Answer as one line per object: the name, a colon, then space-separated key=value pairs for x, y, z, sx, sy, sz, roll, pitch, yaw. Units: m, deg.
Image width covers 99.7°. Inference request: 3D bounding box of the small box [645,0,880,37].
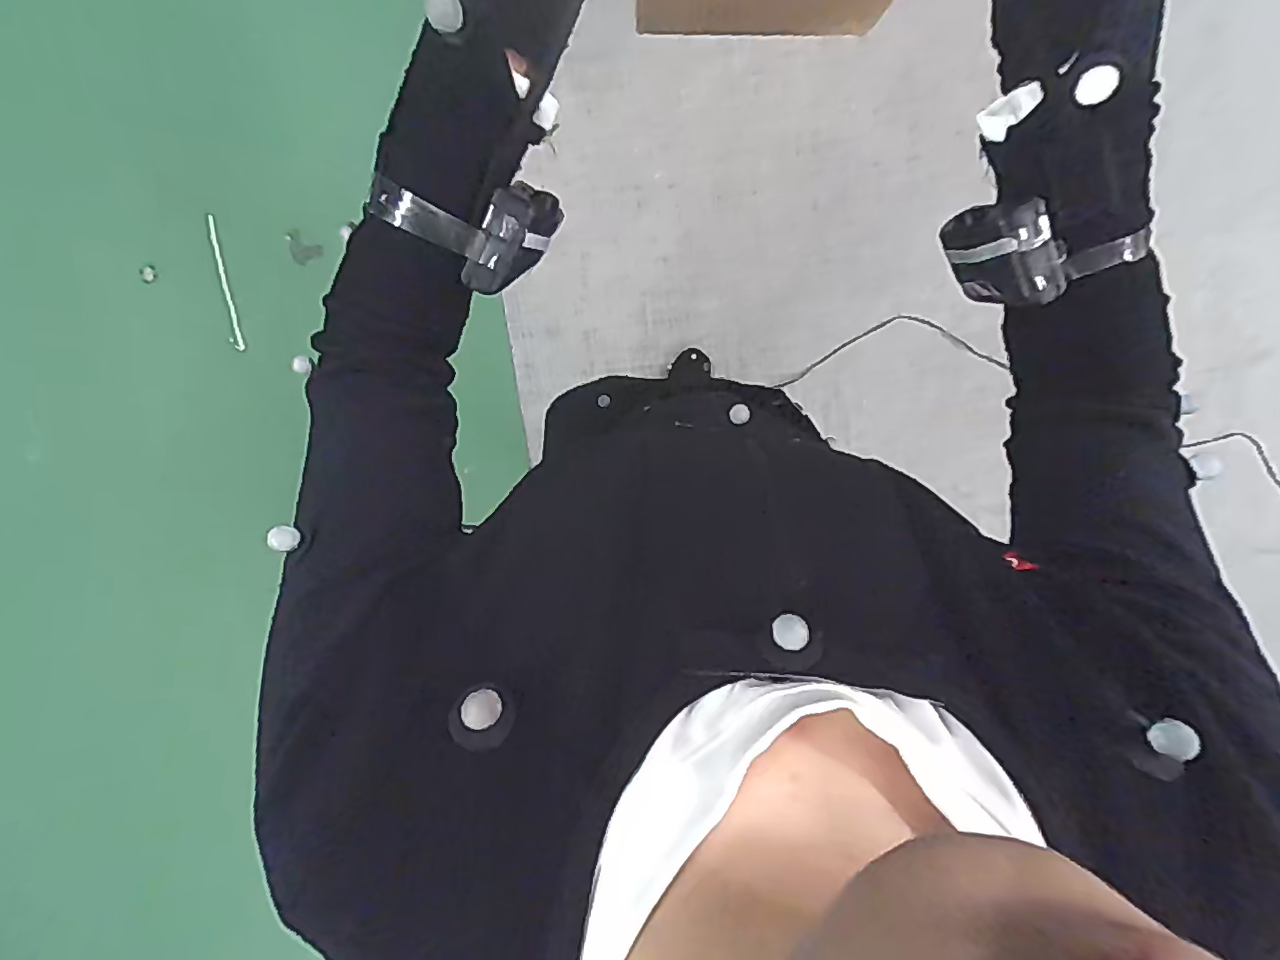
small box: x=0.089 y=-0.395 z=0.312 sx=0.179 sy=0.176 sz=0.168 roll=-1 pitch=105 yaw=-1
